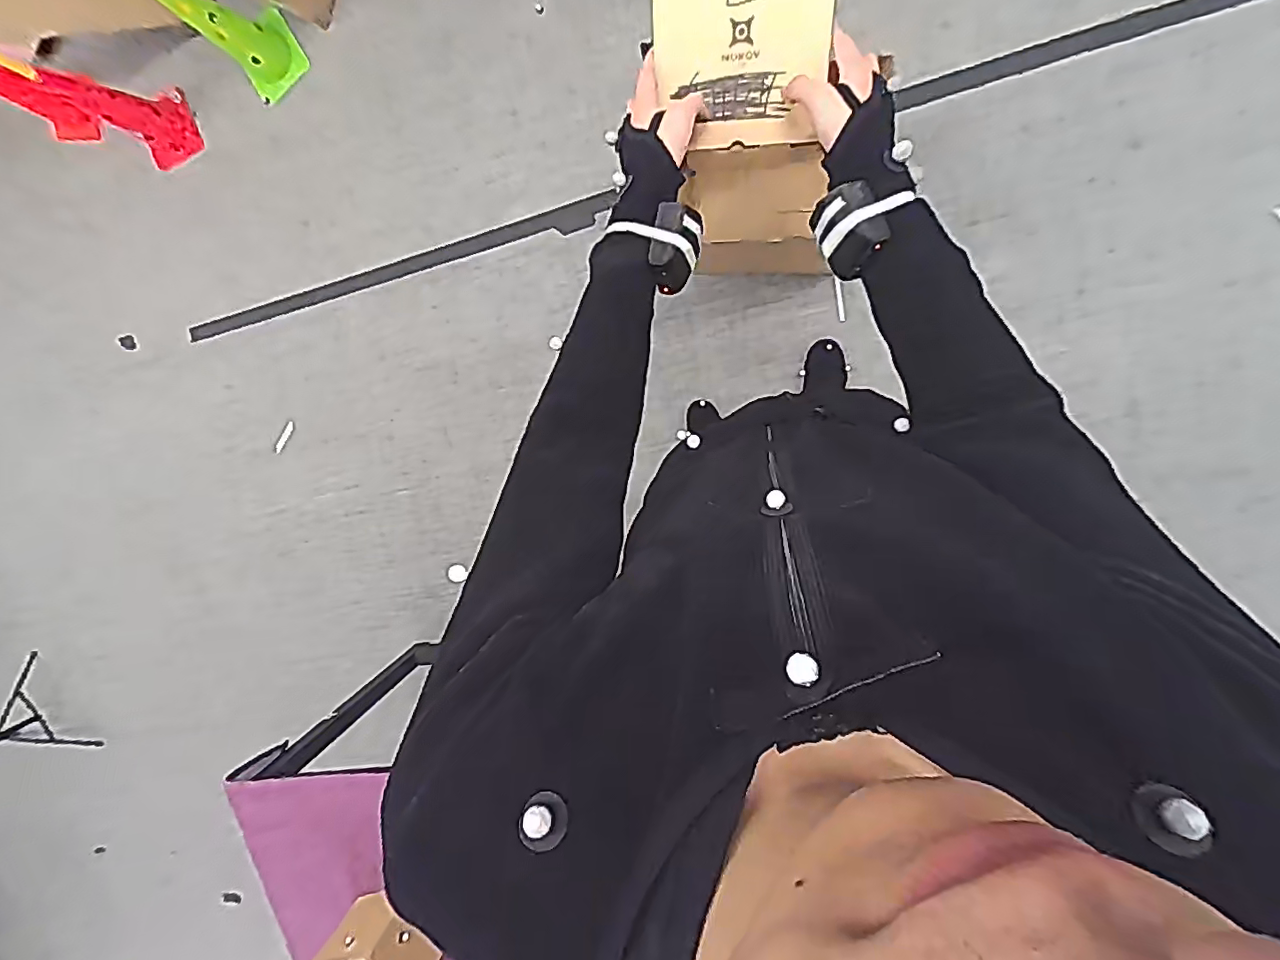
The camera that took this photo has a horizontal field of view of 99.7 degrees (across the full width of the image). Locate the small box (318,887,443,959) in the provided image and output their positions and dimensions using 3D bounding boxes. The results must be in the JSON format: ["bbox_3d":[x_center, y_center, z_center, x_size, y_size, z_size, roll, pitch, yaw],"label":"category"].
[{"bbox_3d":[-0.558,1.028,1.173,0.179,0.176,0.168,-23,96,16],"label":"small box"}]
